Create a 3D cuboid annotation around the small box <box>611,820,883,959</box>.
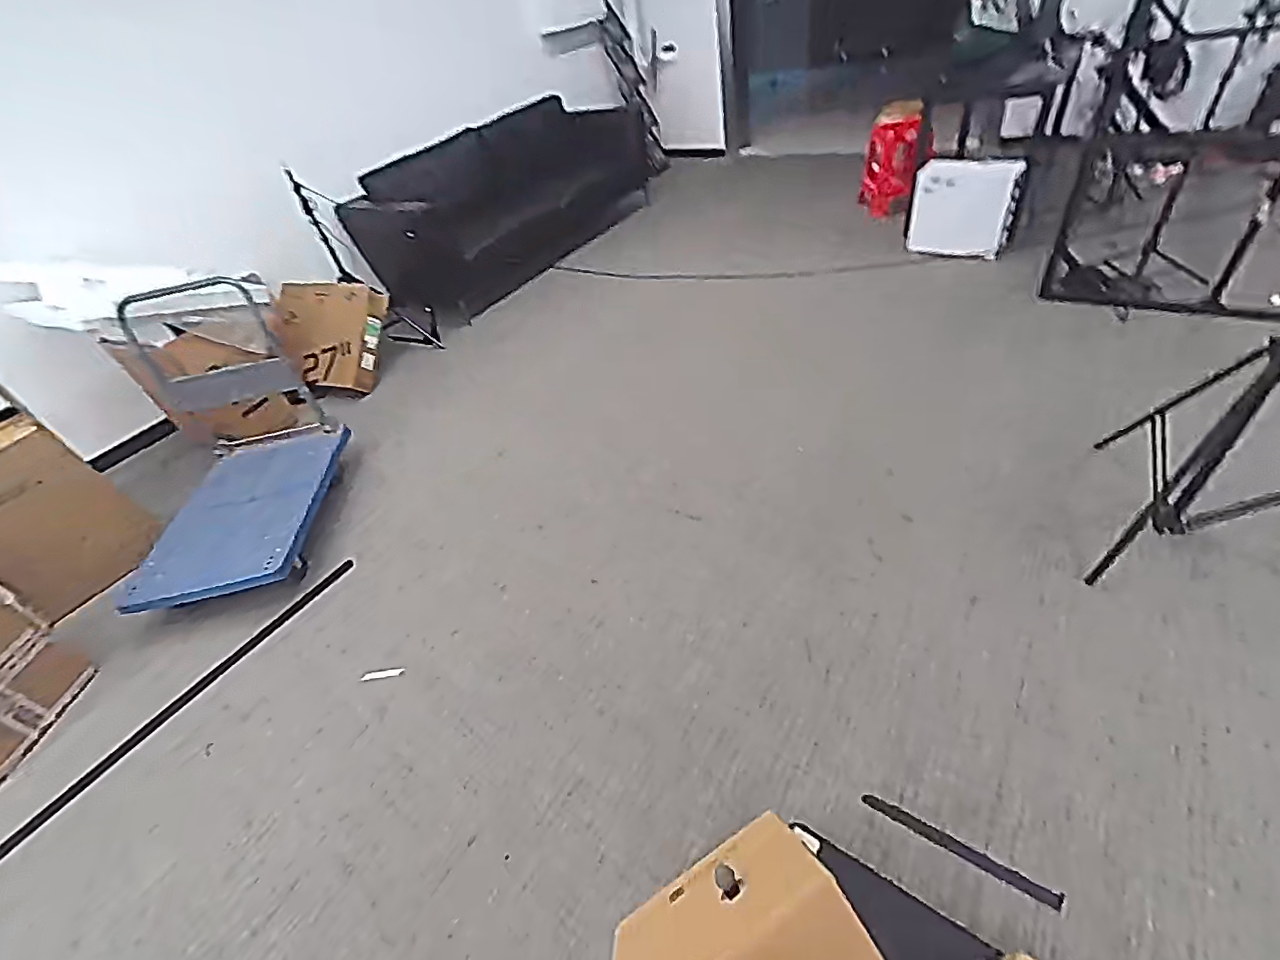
[{"bbox_3d":[0.087,0.371,0.372,0.168,0.176,0.179,-31,75,-11],"label":"small box"}]
